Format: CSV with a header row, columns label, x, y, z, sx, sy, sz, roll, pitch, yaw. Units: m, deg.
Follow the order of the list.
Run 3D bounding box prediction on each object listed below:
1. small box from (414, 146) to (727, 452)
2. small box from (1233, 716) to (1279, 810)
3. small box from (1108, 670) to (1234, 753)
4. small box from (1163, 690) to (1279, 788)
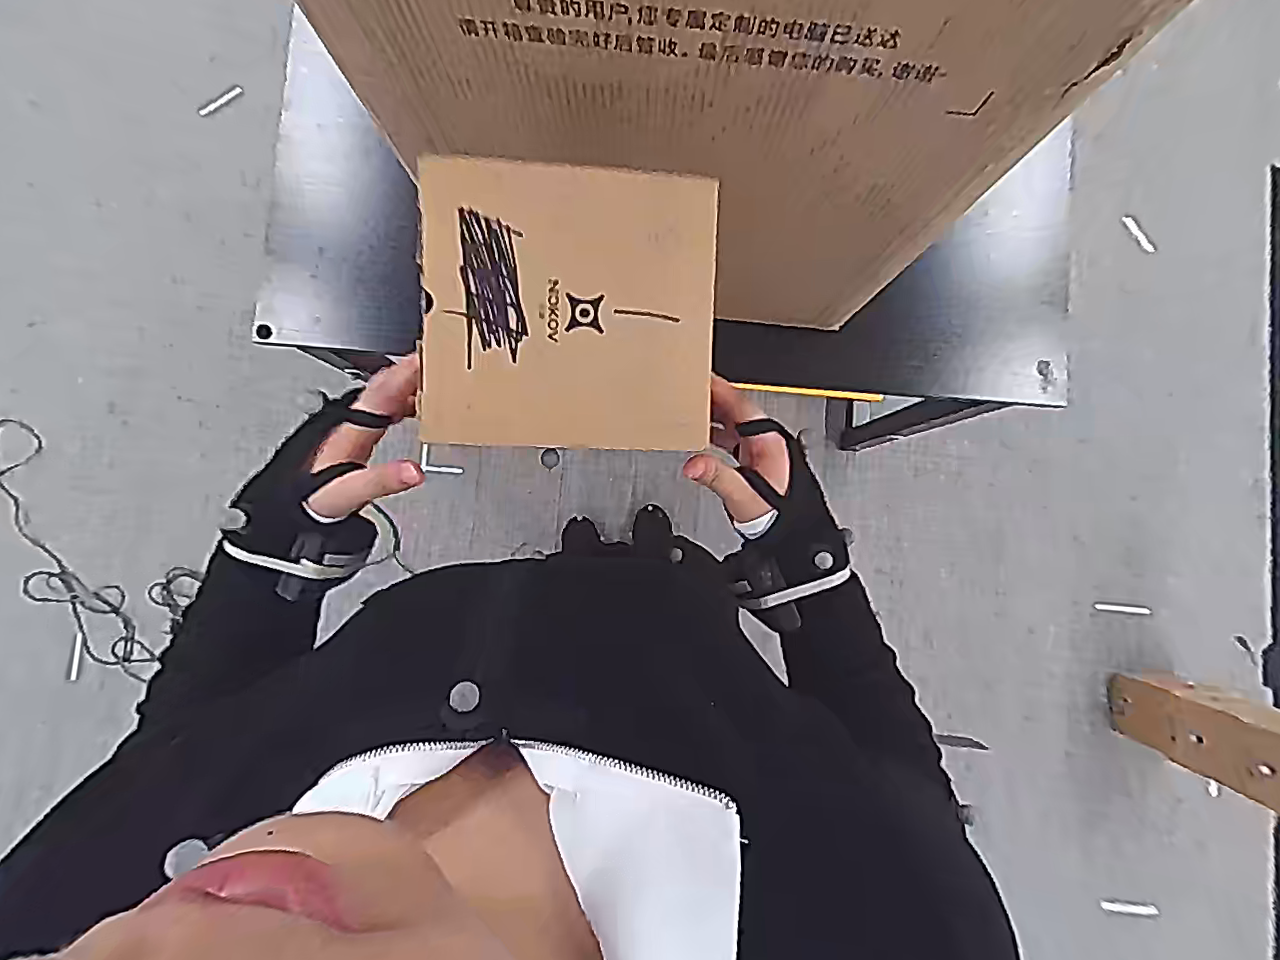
label,x,y,z,sx,sy,sz,roll,pitch,yaw
small box,-0.047,-0.107,0.388,0.179,0.176,0.168,1,96,-7
small box,1.376,0.586,1.091,0.179,0.176,0.168,-1,85,-1
small box,1.389,0.607,1.421,0.179,0.176,0.168,3,85,0
small box,1.375,0.599,1.257,0.179,0.176,0.168,4,86,0
